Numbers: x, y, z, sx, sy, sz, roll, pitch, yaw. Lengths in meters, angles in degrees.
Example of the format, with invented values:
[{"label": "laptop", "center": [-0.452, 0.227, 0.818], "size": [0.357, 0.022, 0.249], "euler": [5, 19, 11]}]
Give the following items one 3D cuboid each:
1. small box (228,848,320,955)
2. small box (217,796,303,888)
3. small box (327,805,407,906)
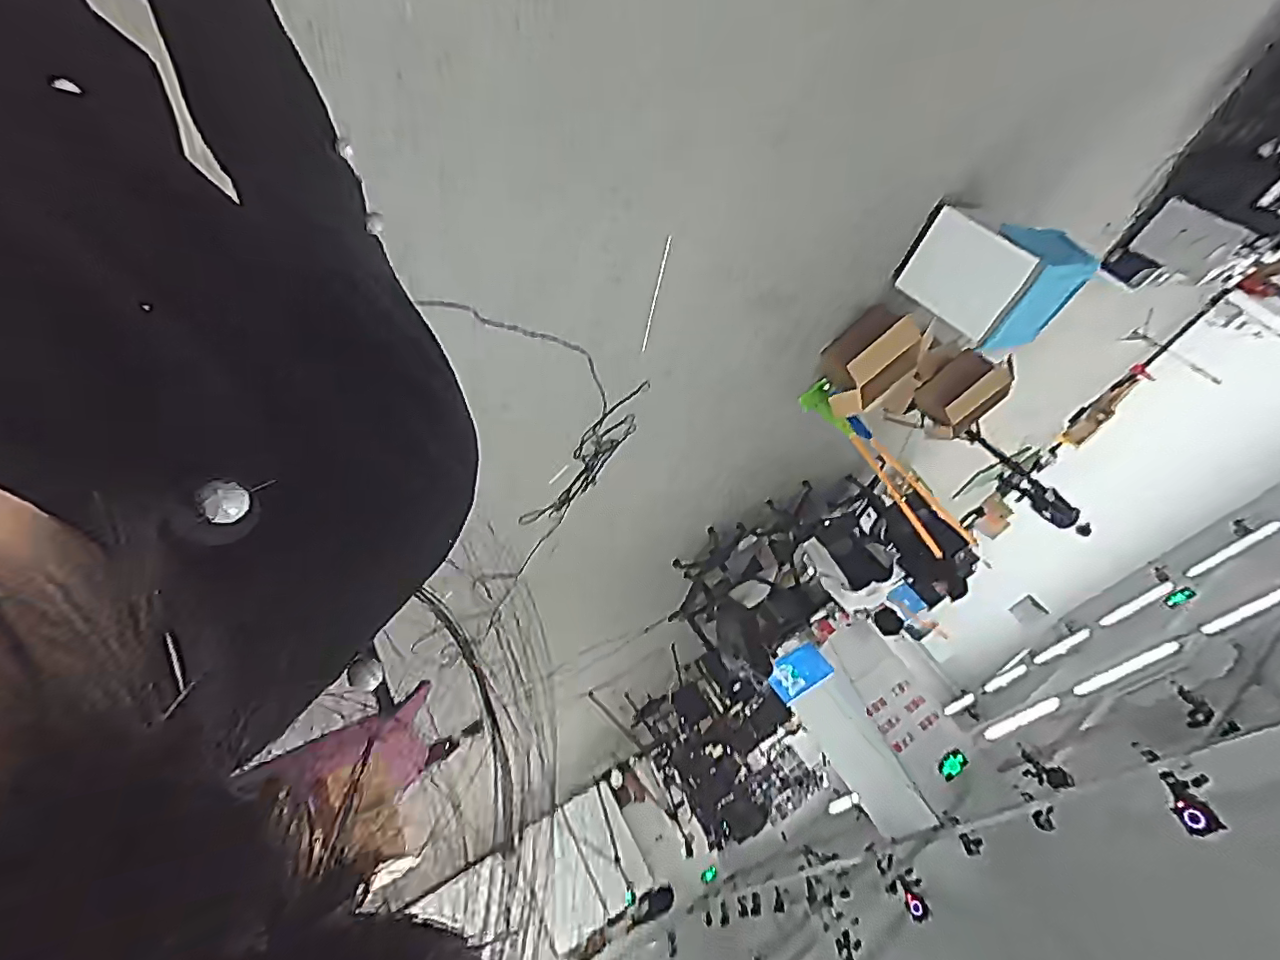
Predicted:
[{"label": "small box", "center": [-1.011, 1.164, 1.492], "size": [0.179, 0.176, 0.168], "euler": [-17, 146, -30]}, {"label": "small box", "center": [-1.105, 1.059, 1.577], "size": [0.168, 0.176, 0.179], "euler": [-16, 146, -31]}, {"label": "small box", "center": [-0.835, 1.134, 1.642], "size": [0.179, 0.176, 0.168], "euler": [-8, 139, -41]}]
